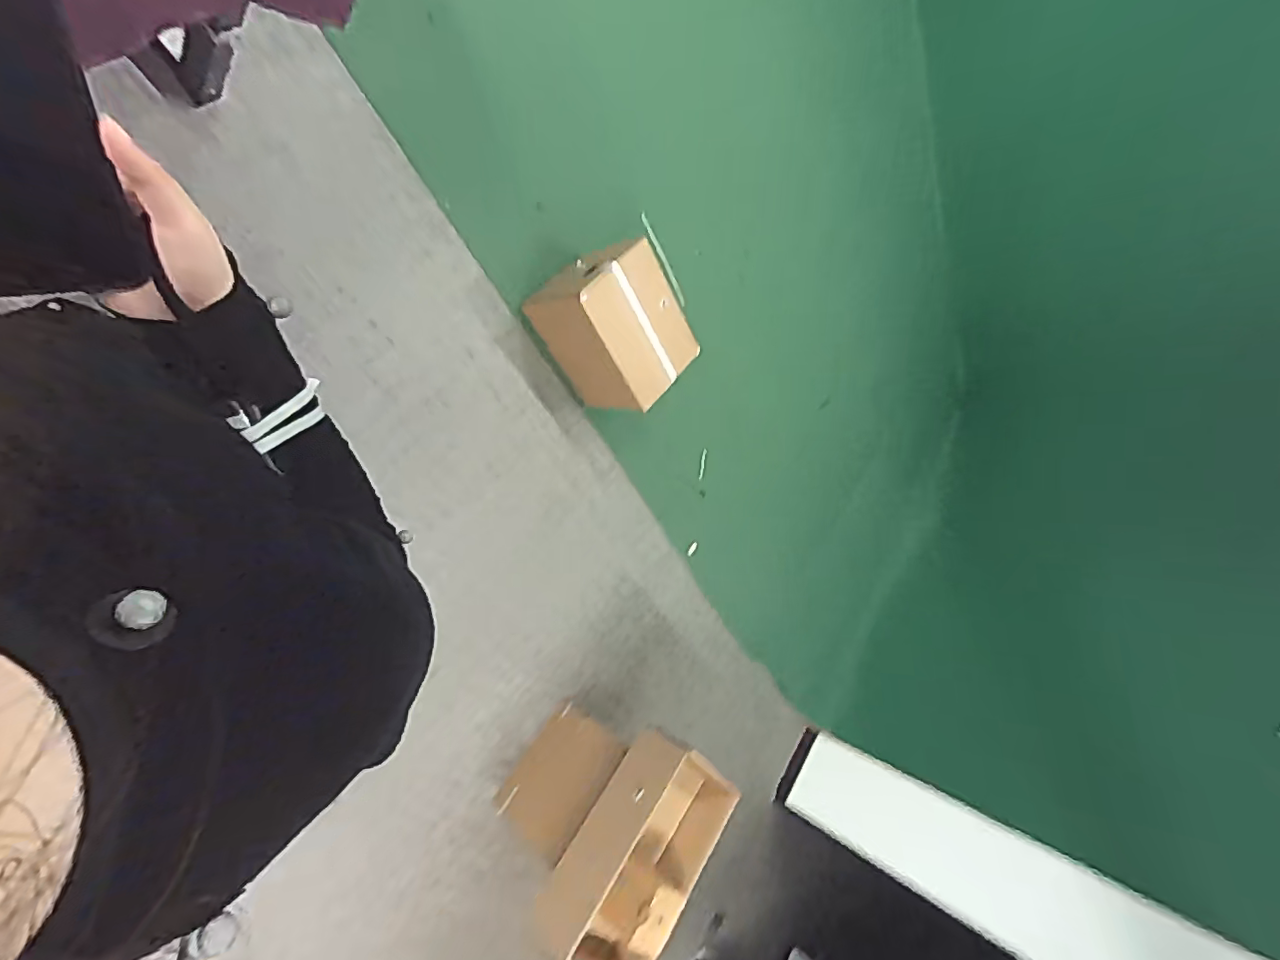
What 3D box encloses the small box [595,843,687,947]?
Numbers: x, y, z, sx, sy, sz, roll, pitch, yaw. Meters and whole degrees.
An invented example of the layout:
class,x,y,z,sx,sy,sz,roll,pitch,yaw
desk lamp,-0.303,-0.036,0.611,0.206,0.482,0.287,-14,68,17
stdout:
class,x,y,z,sx,sy,sz,roll,pitch,yaw
small box,0.001,1.223,1.602,0.168,0.176,0.179,-52,128,-23
